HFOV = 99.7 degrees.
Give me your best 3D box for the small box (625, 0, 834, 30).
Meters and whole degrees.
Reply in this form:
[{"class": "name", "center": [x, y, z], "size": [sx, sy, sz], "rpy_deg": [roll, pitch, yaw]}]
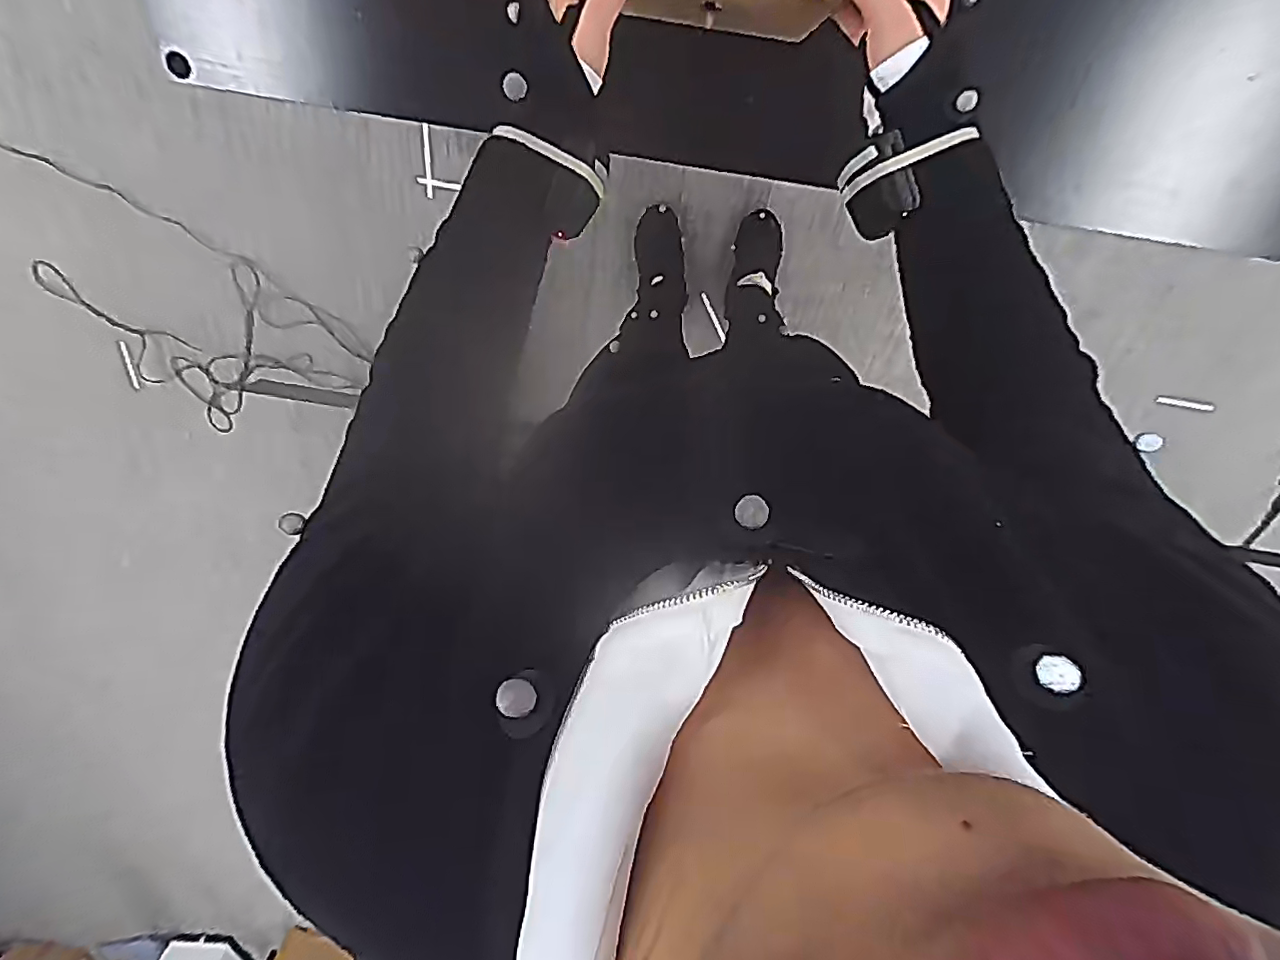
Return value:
[{"class": "small box", "center": [0.072, -0.465, 0.405], "size": [0.179, 0.176, 0.168], "rpy_deg": [8, 121, -1]}]
